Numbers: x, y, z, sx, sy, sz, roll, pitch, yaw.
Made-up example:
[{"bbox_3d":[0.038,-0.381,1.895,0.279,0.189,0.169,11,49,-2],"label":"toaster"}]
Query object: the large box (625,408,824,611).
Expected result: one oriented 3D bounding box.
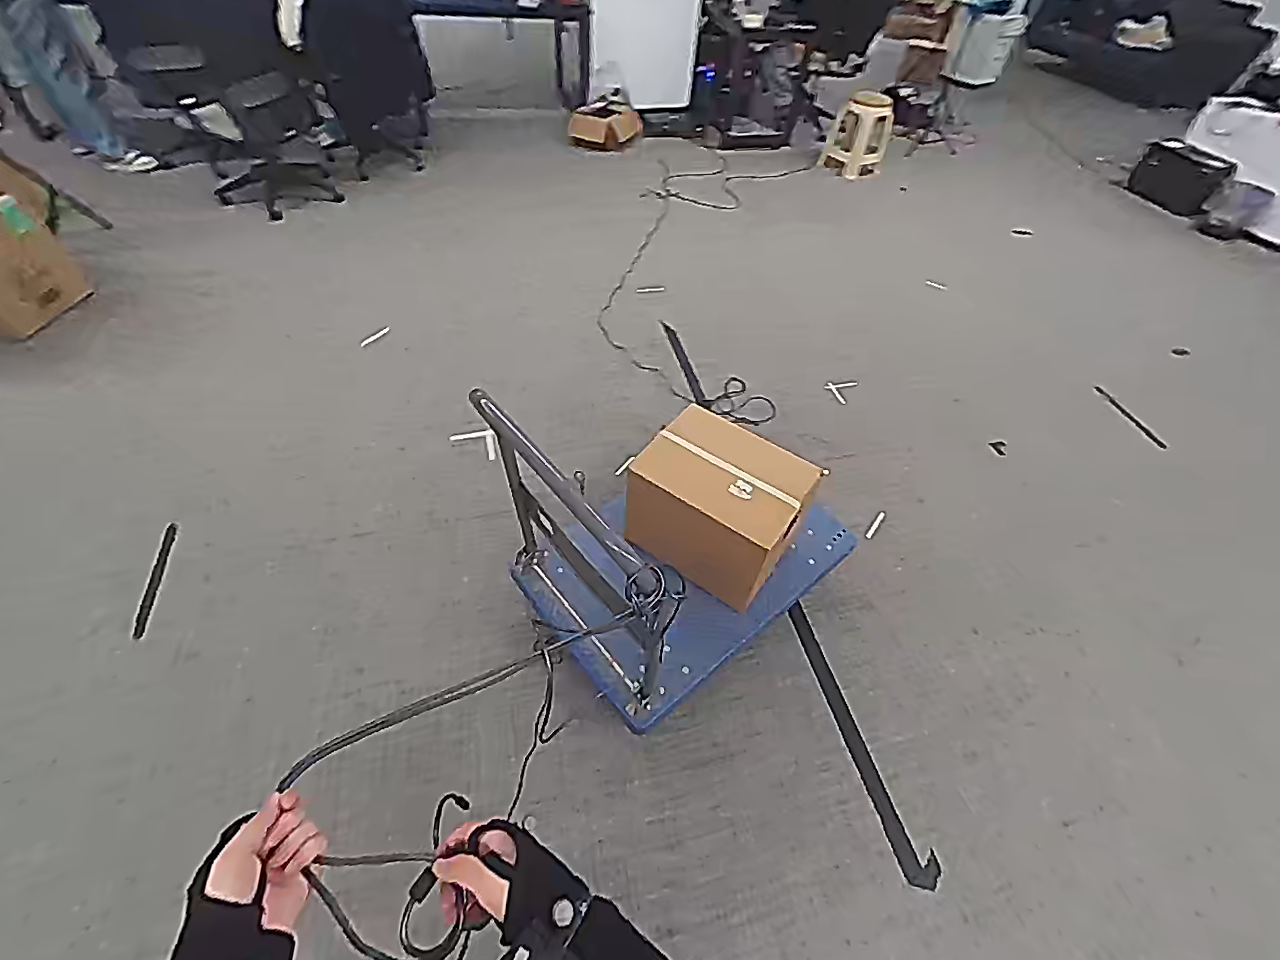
[{"bbox_3d":[0.210,0.075,1.471,0.408,0.320,0.320,31,55,20],"label":"large box"}]
